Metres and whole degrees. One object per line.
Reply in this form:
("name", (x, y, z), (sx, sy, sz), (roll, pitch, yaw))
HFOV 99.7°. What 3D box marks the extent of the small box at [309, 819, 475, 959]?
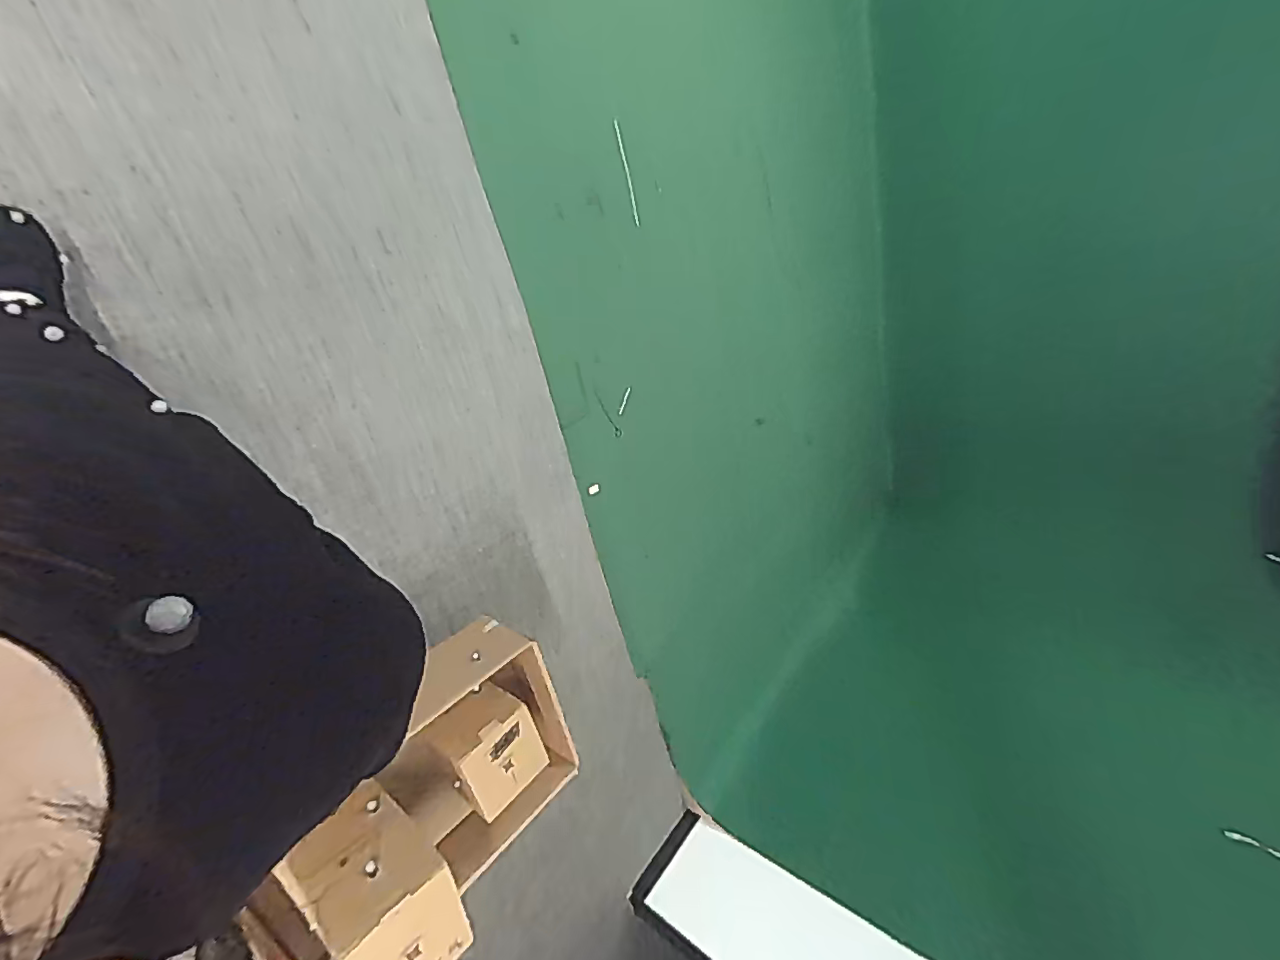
("small box", (-0.393, 0.681, 0.855), (0.168, 0.176, 0.179), (-25, 112, -41))
